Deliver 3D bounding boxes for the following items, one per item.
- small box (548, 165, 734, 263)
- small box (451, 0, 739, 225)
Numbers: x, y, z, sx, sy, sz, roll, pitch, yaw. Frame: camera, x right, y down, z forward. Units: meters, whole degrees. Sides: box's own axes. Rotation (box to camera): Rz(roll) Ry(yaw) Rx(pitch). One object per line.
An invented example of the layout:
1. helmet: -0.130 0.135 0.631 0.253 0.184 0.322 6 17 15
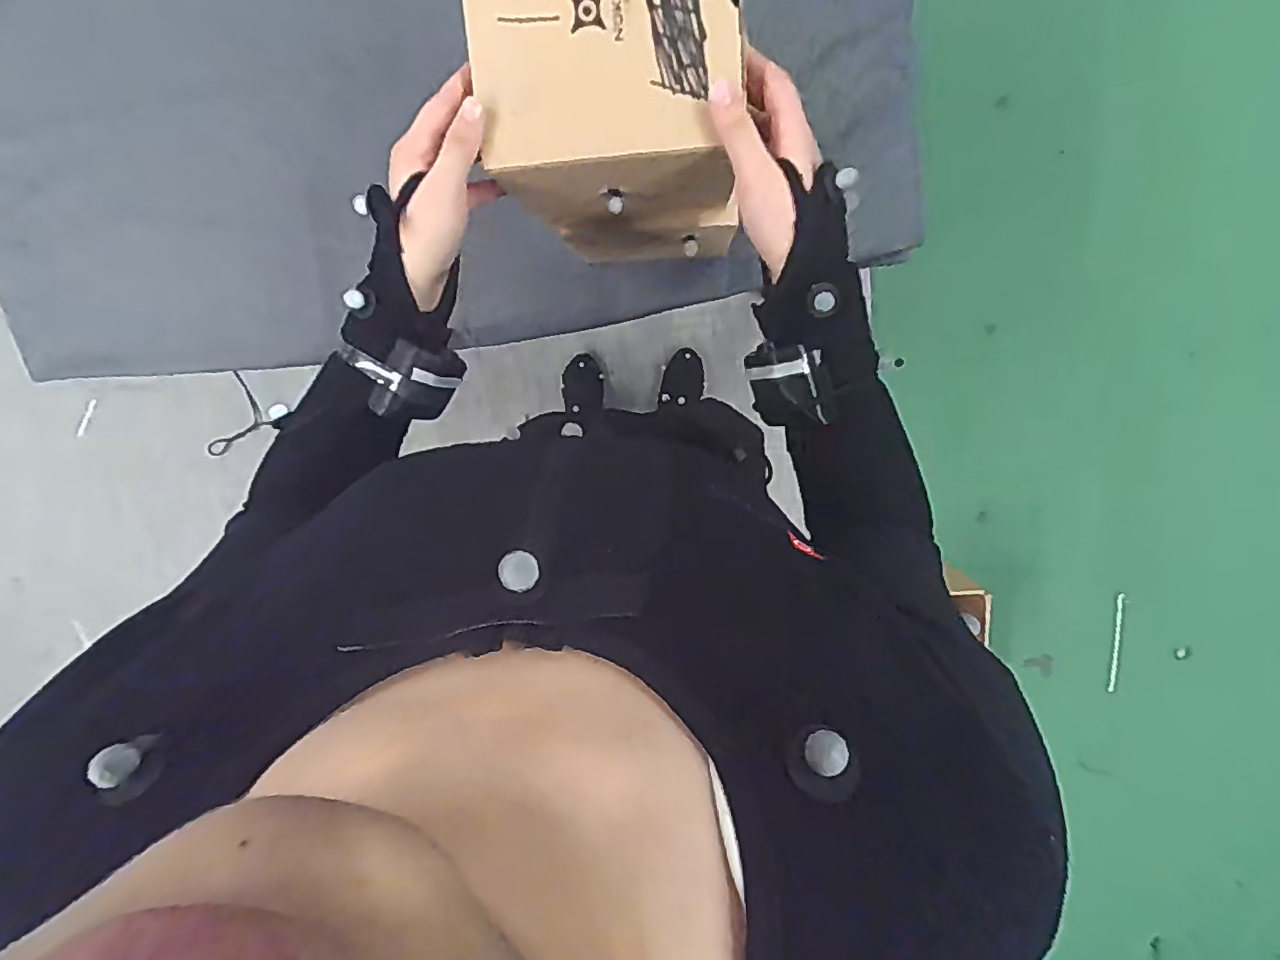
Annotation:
1. small box: 0.002 -0.329 0.567 0.179 0.176 0.168 -1 103 5
2. small box: -0.023 -0.301 0.405 0.179 0.176 0.168 -2 103 6
